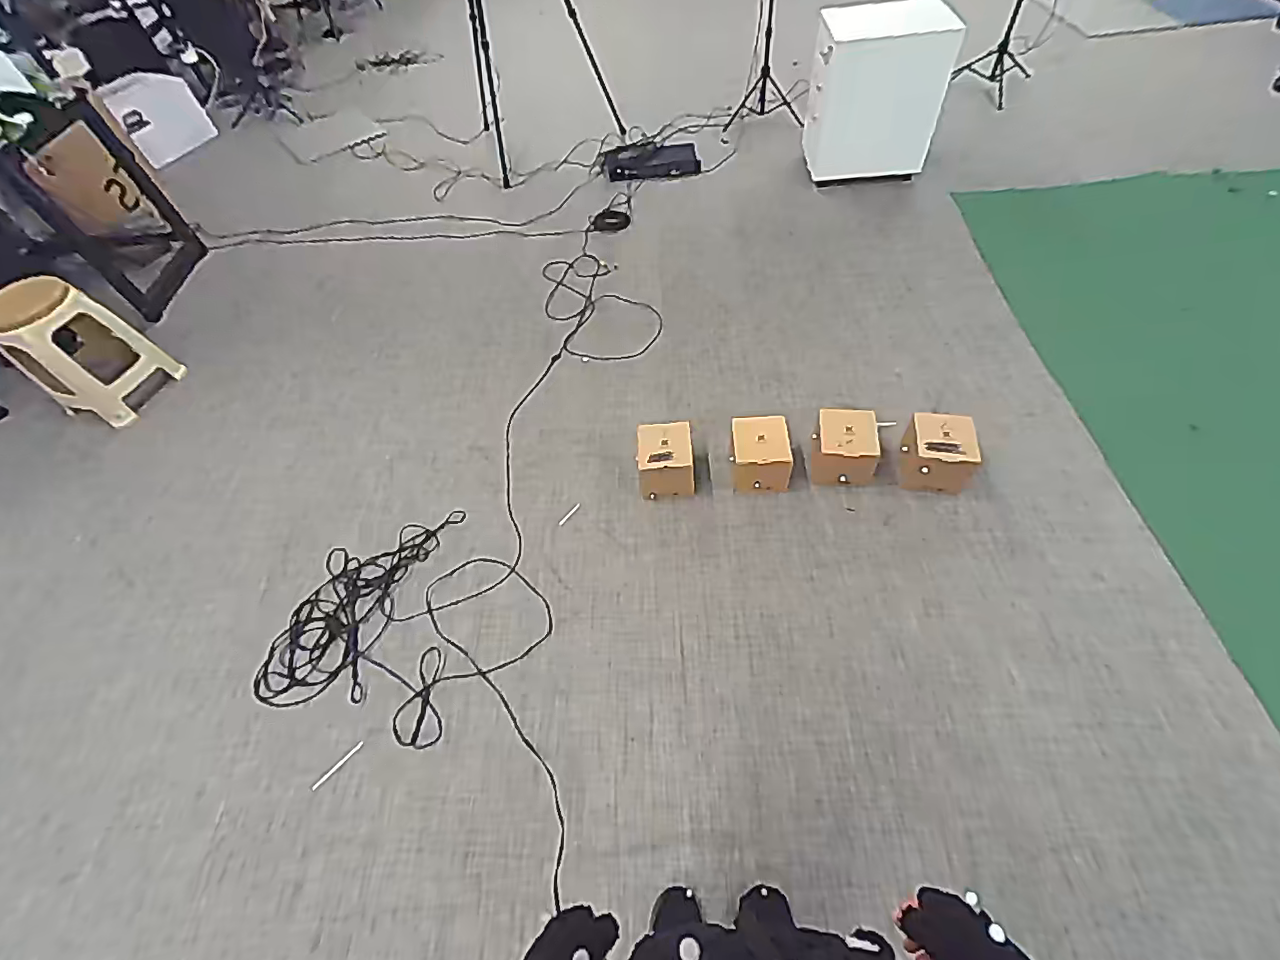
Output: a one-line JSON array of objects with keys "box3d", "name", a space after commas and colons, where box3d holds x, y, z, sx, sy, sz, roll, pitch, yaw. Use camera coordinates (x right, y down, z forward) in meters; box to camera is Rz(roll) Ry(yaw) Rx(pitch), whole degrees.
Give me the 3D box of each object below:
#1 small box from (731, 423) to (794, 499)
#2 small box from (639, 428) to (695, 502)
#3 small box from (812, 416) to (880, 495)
[{"box3d": [0.376, -0.057, 1.694, 0.168, 0.176, 0.179, -3, 55, 5], "name": "small box"}, {"box3d": [0.087, -0.042, 1.713, 0.168, 0.176, 0.179, -3, 54, 4], "name": "small box"}, {"box3d": [0.632, -0.076, 1.677, 0.168, 0.176, 0.179, 4, 56, 10], "name": "small box"}]
